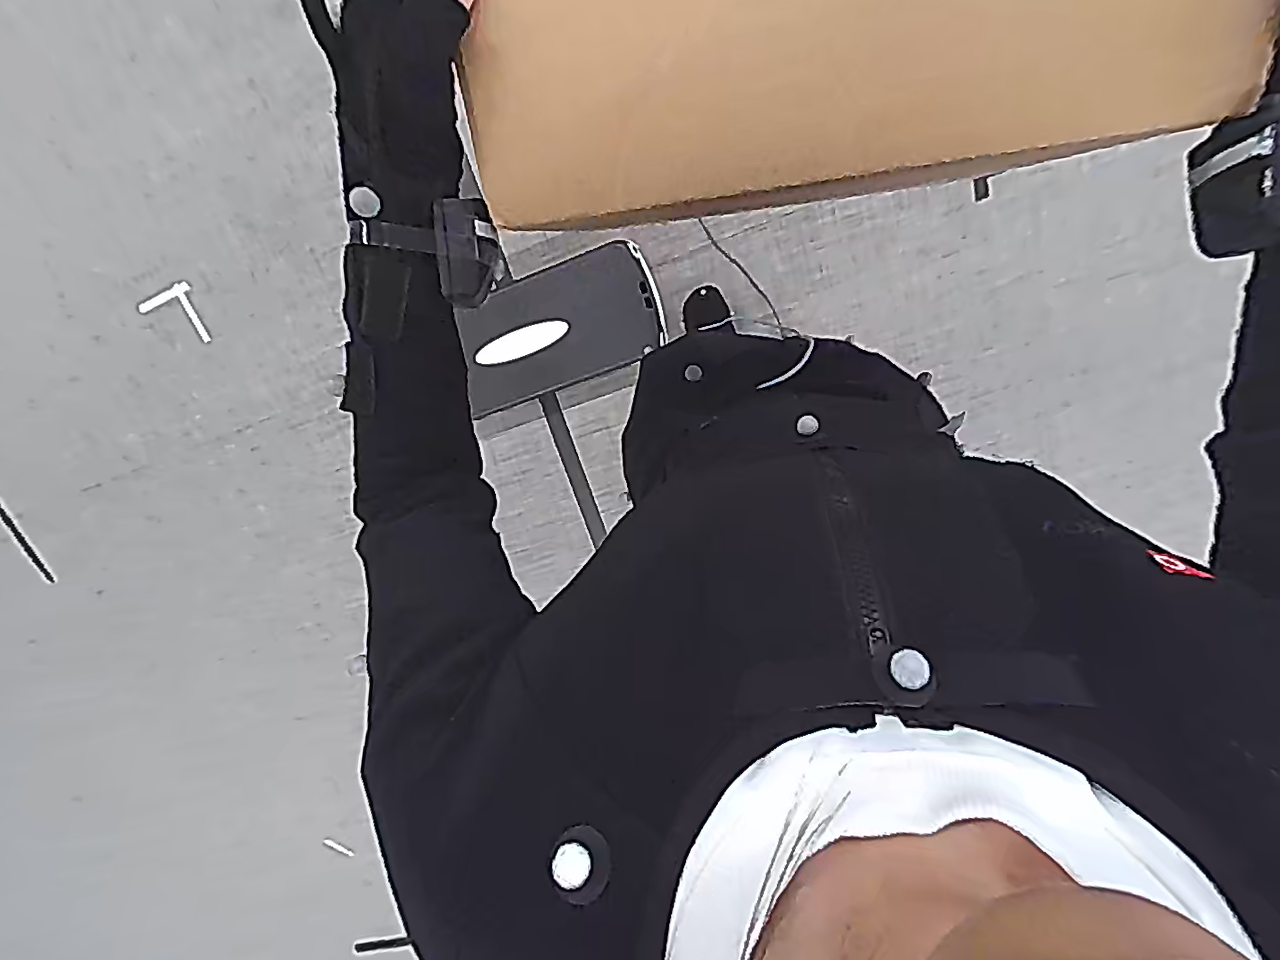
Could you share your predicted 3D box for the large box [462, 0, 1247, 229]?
[{"bbox_3d":[0.103,-0.382,0.389,0.408,0.320,0.320,-5,114,8],"label":"large box"}]
